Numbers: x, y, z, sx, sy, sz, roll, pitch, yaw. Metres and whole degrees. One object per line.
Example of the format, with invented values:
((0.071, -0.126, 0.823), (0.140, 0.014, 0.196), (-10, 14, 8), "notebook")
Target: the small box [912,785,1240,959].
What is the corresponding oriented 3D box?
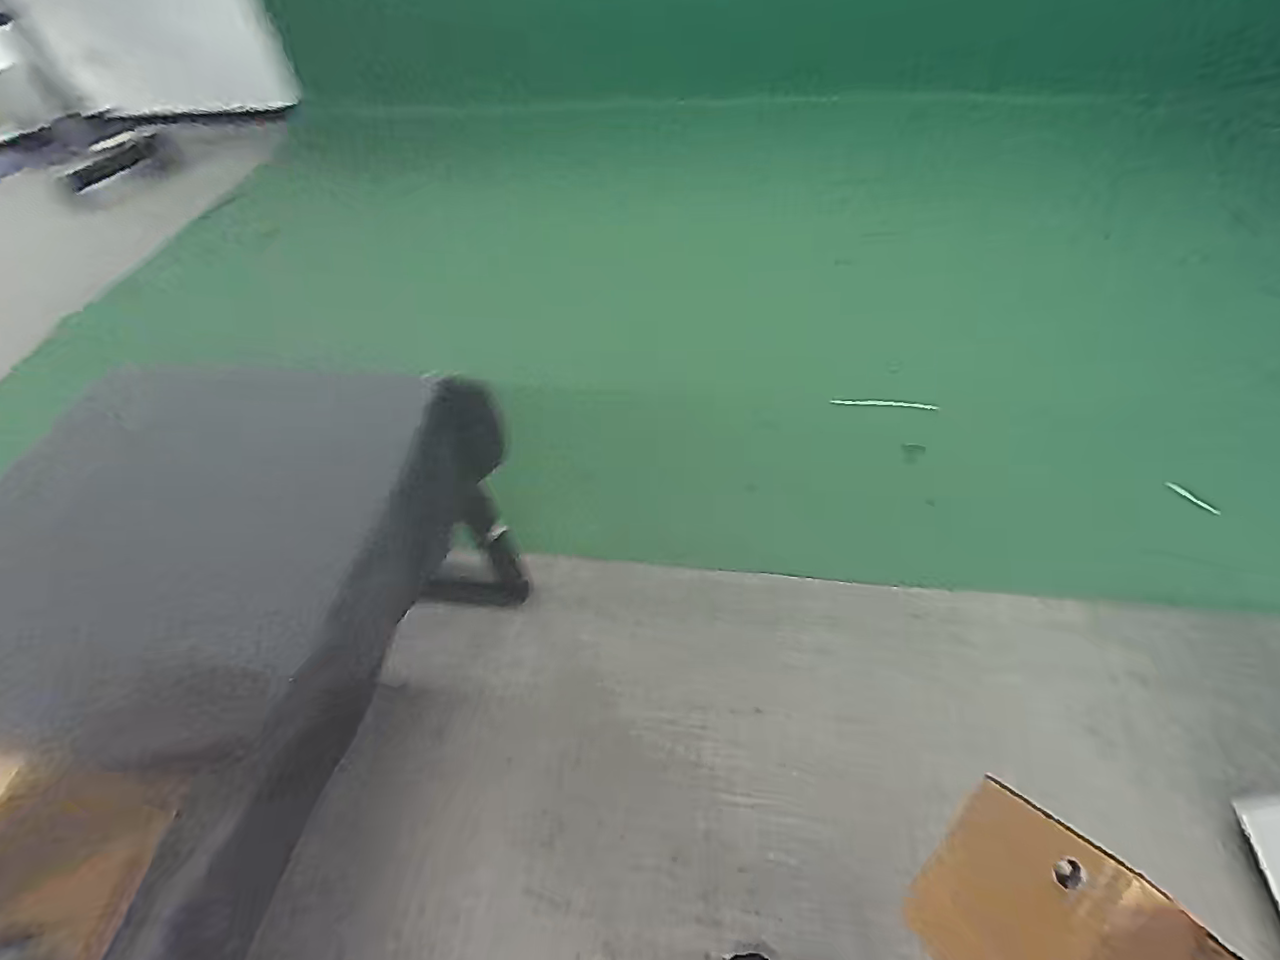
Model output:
((0.379, 0.419, 0.465), (0.168, 0.179, 0.176), (40, 85, 3), "small box")
